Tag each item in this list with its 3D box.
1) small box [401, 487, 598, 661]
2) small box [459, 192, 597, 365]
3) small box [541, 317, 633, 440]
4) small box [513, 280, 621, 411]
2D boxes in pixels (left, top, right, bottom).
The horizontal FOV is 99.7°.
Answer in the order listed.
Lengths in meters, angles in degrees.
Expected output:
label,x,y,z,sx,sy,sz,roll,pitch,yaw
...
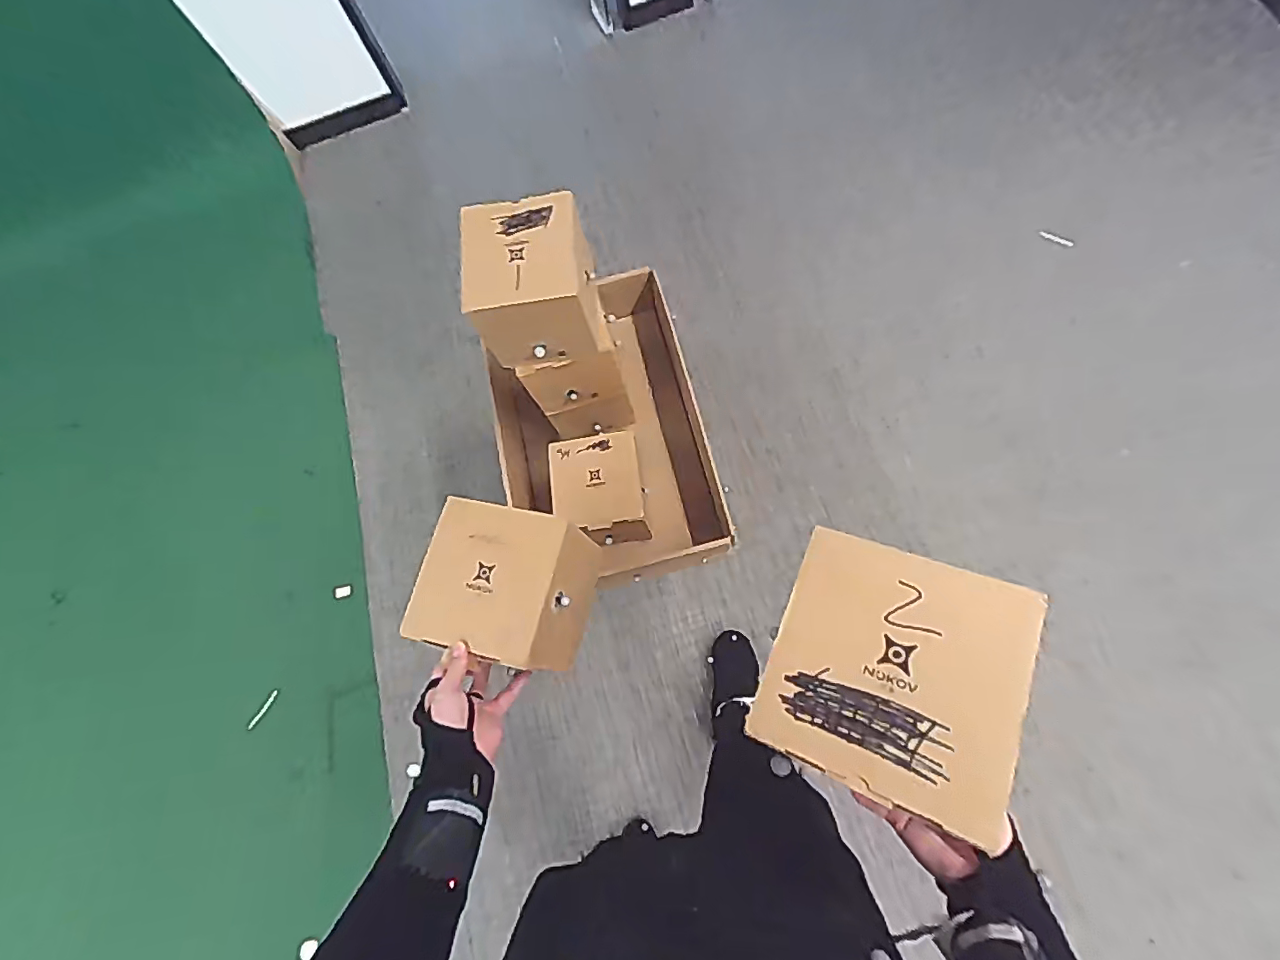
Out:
label,x,y,z,sx,sy,sz,roll,pitch,yaw
small box,-0.166,0.129,0.705,0.168,0.176,0.179,10,71,15
small box,-0.165,-0.301,0.832,0.168,0.176,0.179,-7,74,5
small box,-0.121,-0.209,1.142,0.168,0.176,0.179,-16,73,3
small box,-0.140,-0.252,0.987,0.168,0.176,0.179,-16,73,2
